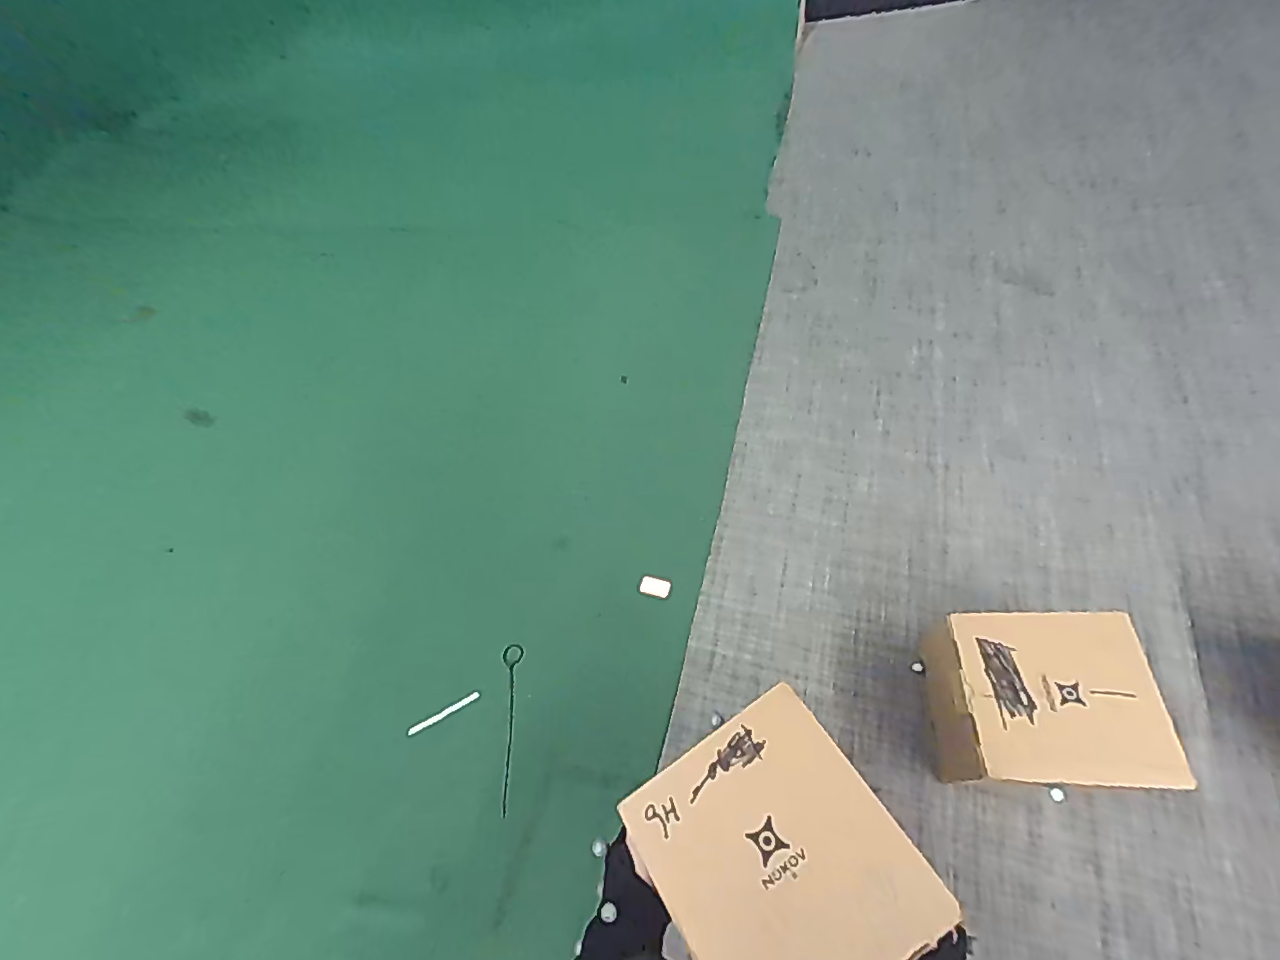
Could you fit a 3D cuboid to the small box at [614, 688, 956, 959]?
[{"bbox_3d":[0.107,0.302,0.442,0.168,0.176,0.179,-33,58,-7],"label":"small box"}]
